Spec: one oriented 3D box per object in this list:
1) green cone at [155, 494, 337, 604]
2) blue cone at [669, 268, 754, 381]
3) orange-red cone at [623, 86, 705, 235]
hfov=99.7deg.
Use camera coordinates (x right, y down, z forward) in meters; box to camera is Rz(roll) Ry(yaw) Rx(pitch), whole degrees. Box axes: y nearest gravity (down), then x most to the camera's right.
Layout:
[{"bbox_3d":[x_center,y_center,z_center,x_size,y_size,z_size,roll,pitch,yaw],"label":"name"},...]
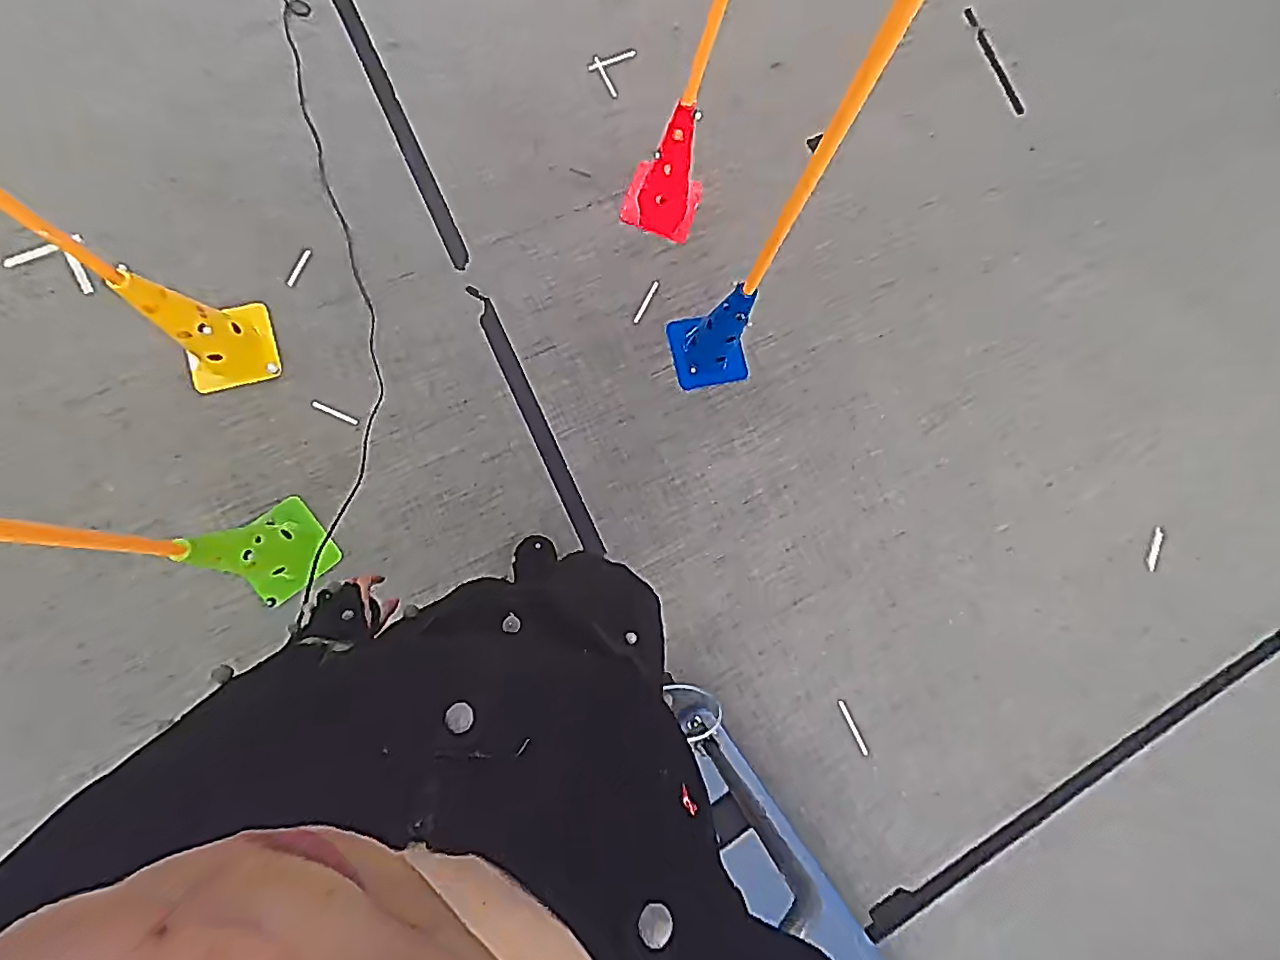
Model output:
[{"bbox_3d":[-0.827,0.135,1.102,0.200,0.368,0.202,-39,87,-11],"label":"green cone"},{"bbox_3d":[0.206,-0.395,1.325,0.193,0.380,0.192,-10,83,-8],"label":"blue cone"},{"bbox_3d":[0.088,-0.822,1.355,0.198,0.360,0.199,20,81,-3],"label":"orange-red cone"}]
